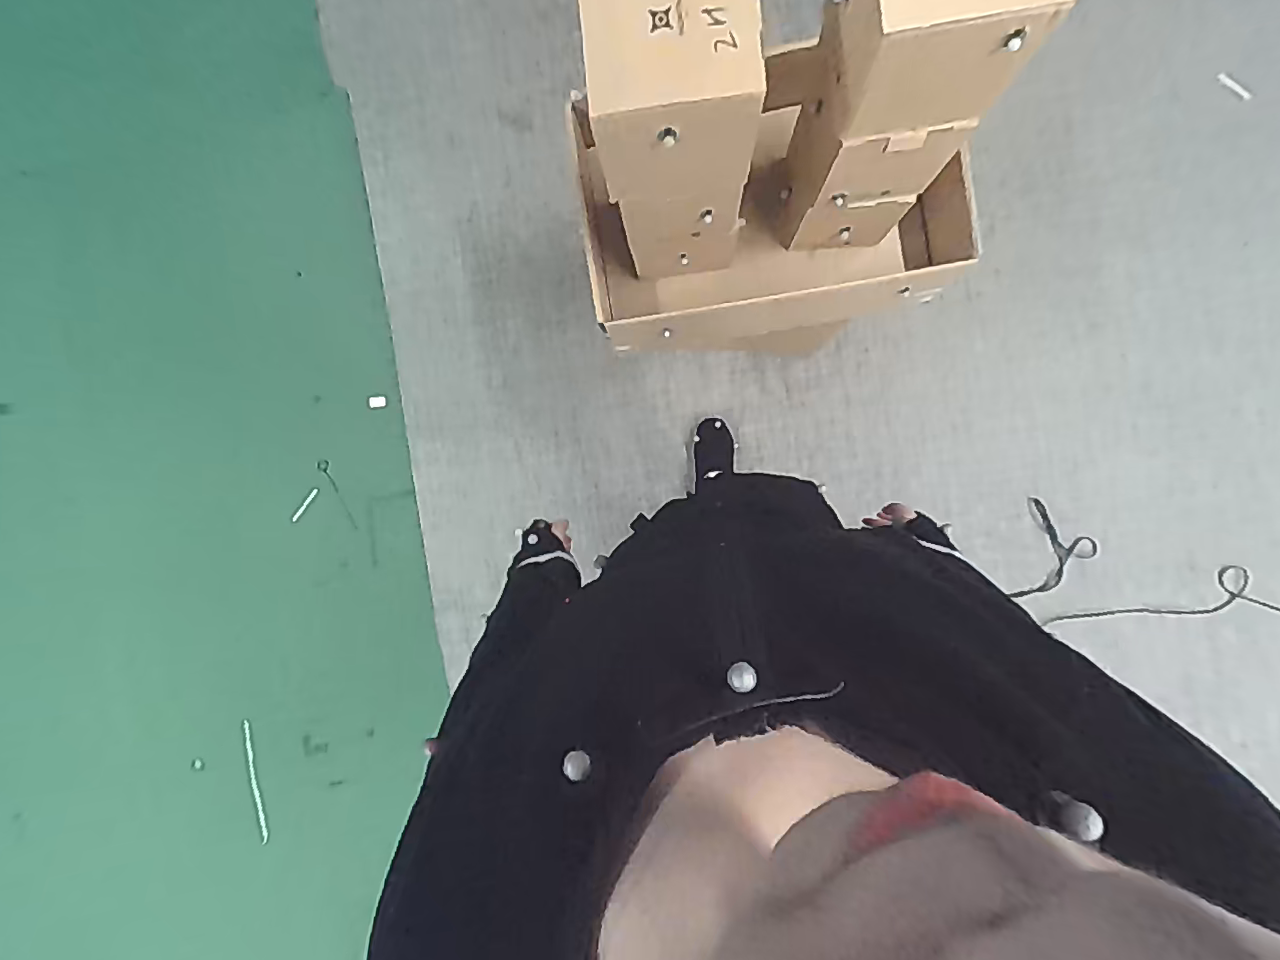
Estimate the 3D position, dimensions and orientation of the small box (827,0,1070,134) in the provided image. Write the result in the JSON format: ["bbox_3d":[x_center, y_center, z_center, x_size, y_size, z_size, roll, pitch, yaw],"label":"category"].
[{"bbox_3d":[0.310,-0.509,0.582,0.179,0.176,0.168,-6,91,4],"label":"small box"}]

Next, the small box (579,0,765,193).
[{"bbox_3d":[0.036,-0.446,0.604,0.179,0.176,0.168,-5,92,4],"label":"small box"}]

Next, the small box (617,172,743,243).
[{"bbox_3d":[0.048,-0.458,0.768,0.168,0.176,0.179,-8,90,4],"label":"small box"}]

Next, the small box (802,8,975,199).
[{"bbox_3d":[0.328,-0.512,0.744,0.168,0.176,0.179,-6,90,5],"label":"small box"}]
